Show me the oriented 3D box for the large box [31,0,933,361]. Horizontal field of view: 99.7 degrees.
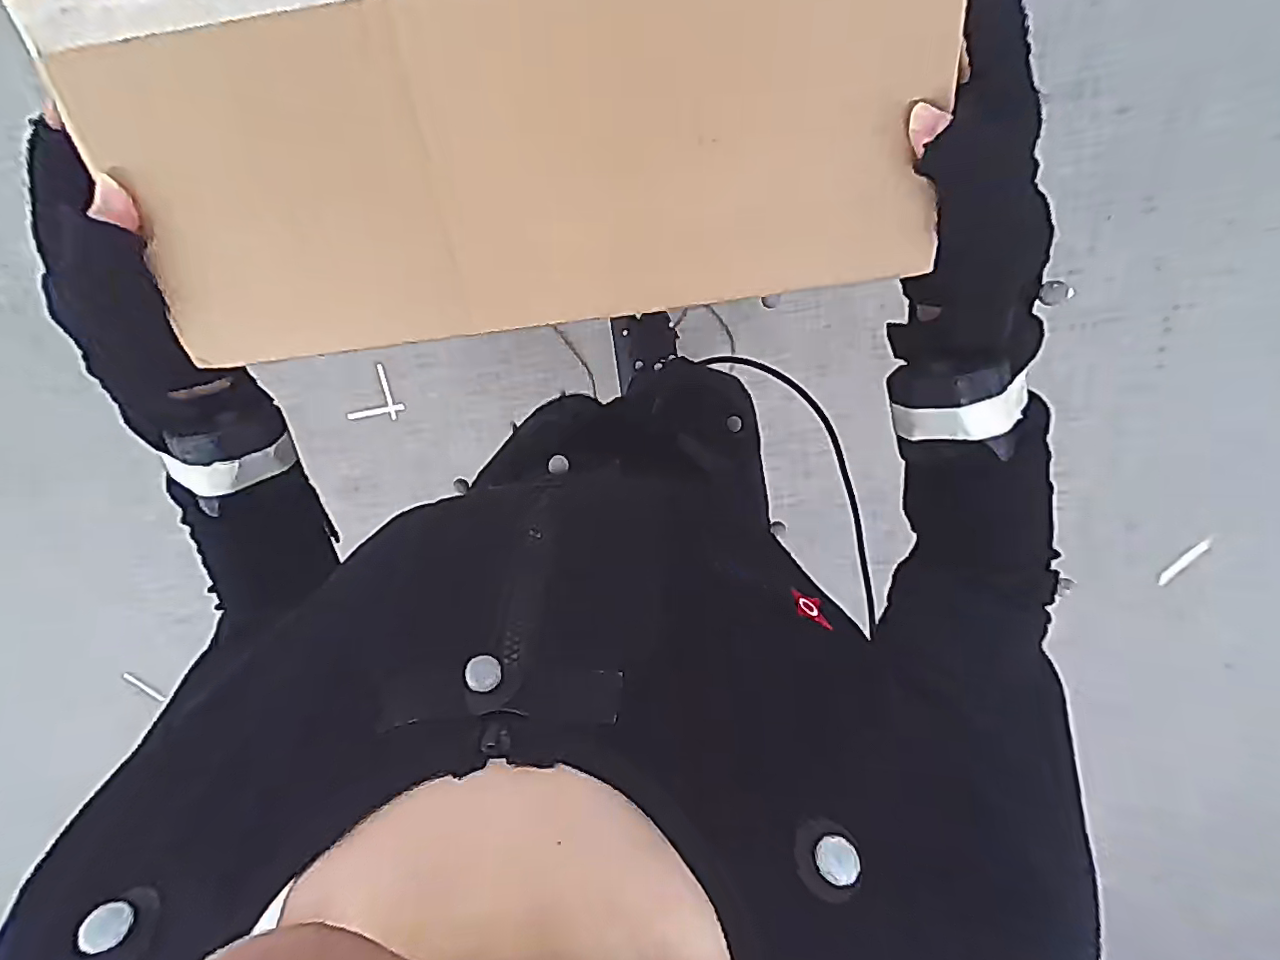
[{"bbox_3d":[-0.069,-0.297,0.362,0.408,0.320,0.320,-6,117,5],"label":"large box"}]
